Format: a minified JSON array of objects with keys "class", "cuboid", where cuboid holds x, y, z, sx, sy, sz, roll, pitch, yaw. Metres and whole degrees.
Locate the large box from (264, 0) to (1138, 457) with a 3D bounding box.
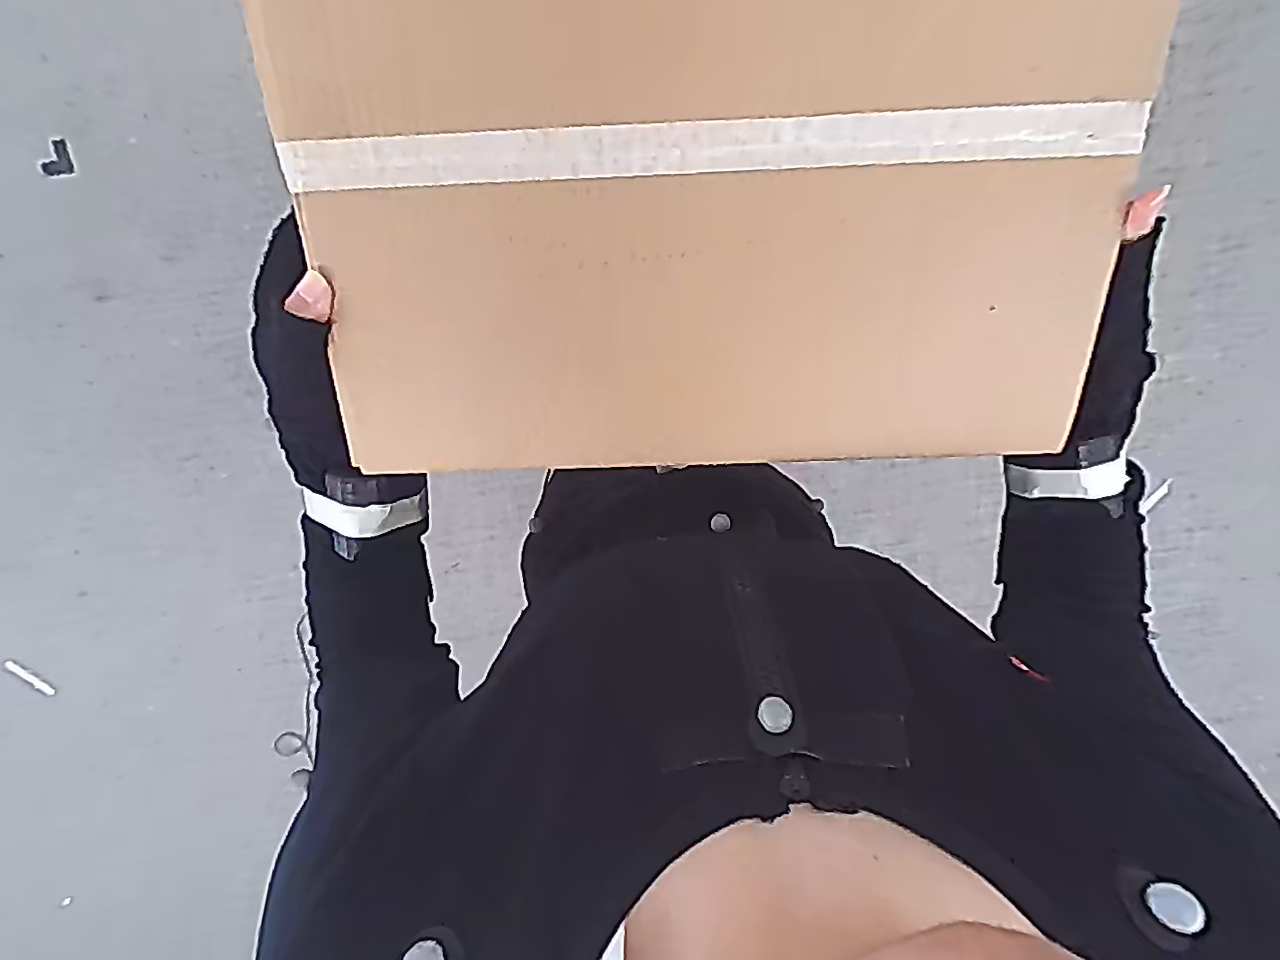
[{"class":"large box","cuboid":[0.027,-0.217,0.406,0.408,0.320,0.320,-2,111,1]}]
